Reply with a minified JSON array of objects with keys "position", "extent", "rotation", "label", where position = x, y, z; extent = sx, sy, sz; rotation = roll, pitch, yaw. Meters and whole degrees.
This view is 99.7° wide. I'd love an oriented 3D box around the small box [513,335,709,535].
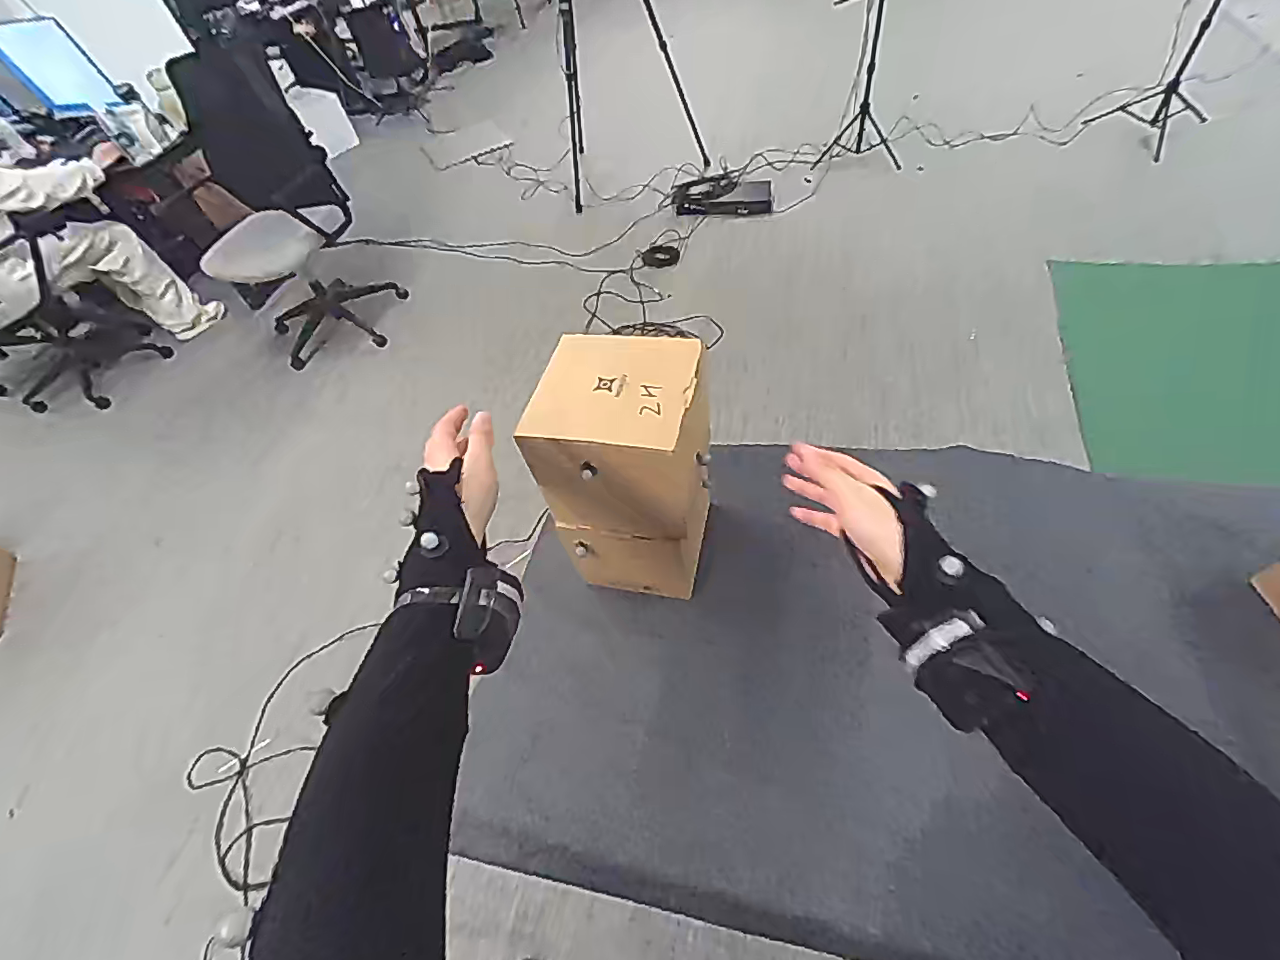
[{"position":[-0.019,-0.050,0.645],"extent":[0.179,0.176,0.168],"rotation":[8,57,15],"label":"small box"}]
